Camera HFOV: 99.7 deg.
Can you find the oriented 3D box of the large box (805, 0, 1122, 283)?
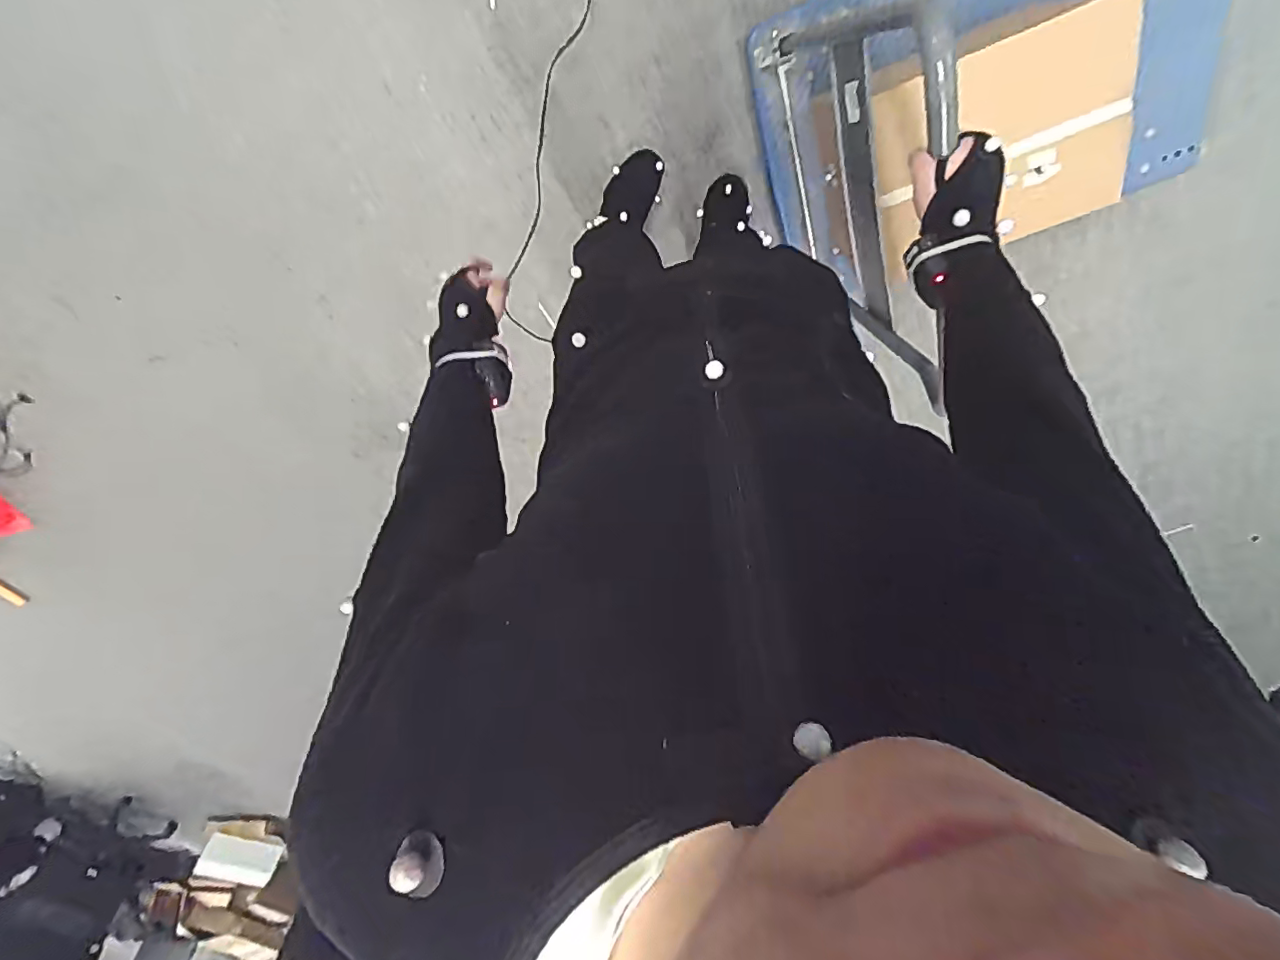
[{"bbox_3d":[0.580,-0.635,1.036,0.408,0.320,0.320,-18,124,11],"label":"large box"}]
